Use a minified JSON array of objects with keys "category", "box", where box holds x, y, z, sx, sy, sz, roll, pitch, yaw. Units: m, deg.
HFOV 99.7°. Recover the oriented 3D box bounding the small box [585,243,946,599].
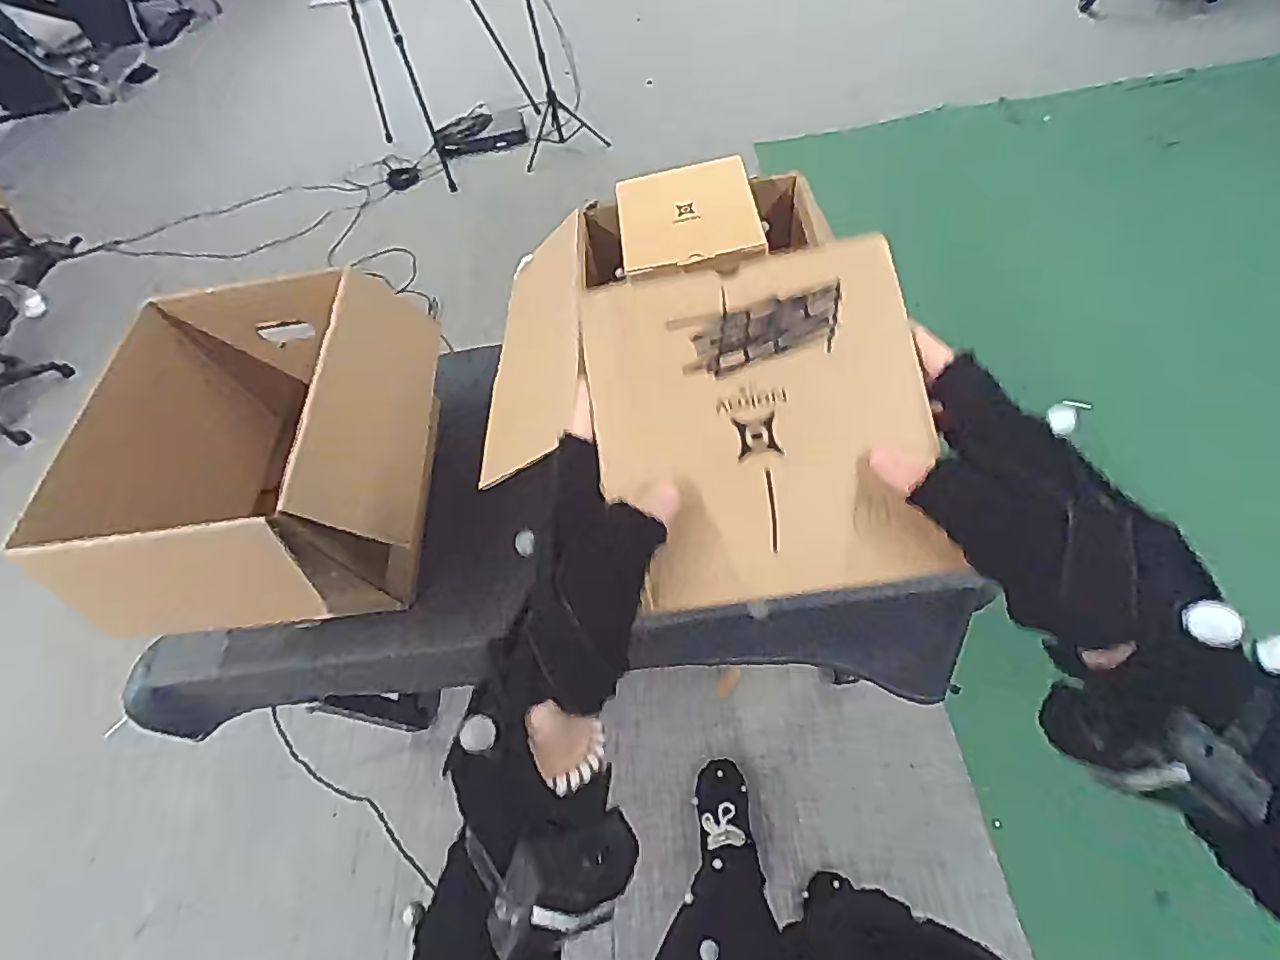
[{"category":"small box","box":[0.066,-0.019,0.358,0.168,0.176,0.179,-8,80,6]}]
